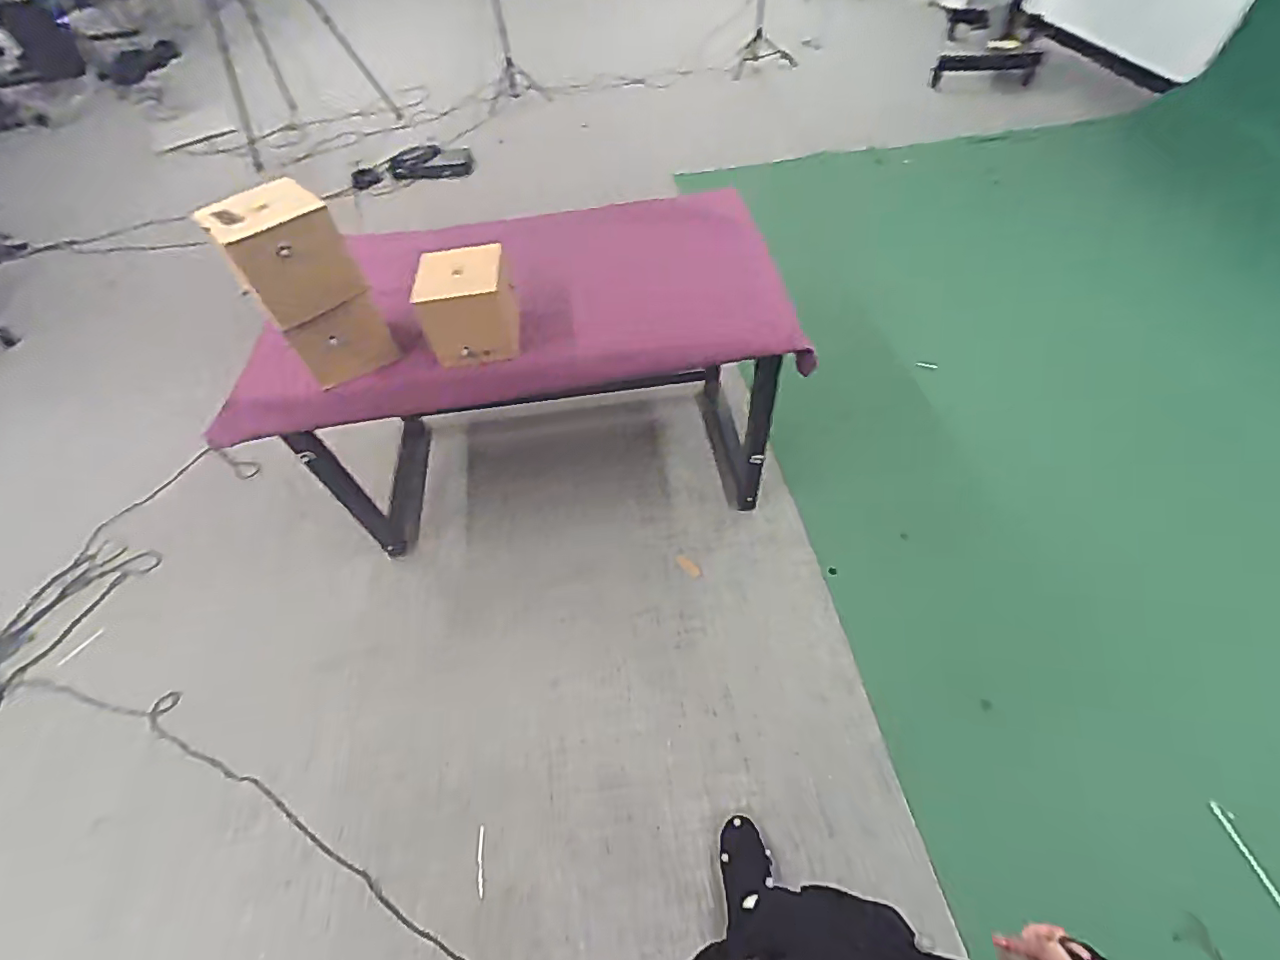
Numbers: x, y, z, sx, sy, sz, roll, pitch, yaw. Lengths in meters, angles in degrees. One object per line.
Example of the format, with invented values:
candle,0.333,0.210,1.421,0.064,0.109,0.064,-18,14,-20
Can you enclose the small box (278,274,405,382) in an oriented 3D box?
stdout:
small box,-0.627,-0.335,1.130,0.179,0.176,0.168,-28,56,-16

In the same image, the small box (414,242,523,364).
small box,-0.348,-0.369,1.134,0.168,0.176,0.179,-7,53,0

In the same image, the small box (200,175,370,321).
small box,-0.637,-0.420,0.988,0.179,0.176,0.168,-38,59,-23
